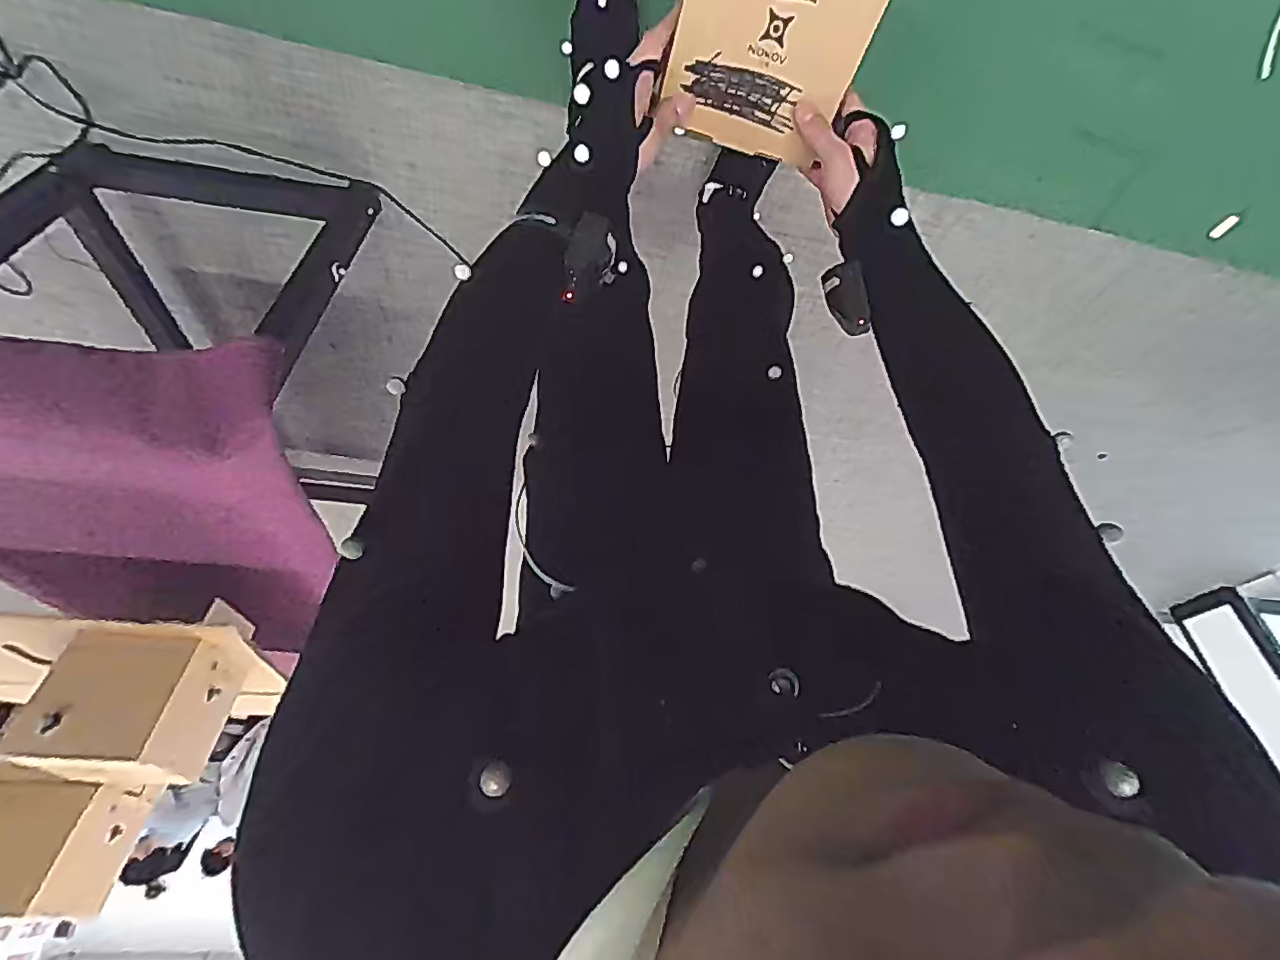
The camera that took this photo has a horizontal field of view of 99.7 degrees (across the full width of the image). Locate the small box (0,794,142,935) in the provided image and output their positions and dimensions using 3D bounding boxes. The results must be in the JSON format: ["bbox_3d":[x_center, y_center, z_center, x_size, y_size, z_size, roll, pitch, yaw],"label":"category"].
[{"bbox_3d":[-0.947,0.590,0.836,0.179,0.176,0.168,4,140,-6],"label":"small box"}]

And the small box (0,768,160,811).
[{"bbox_3d":[-0.938,0.465,0.939,0.179,0.176,0.168,6,140,-5],"label":"small box"}]

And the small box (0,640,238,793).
[{"bbox_3d":[-0.750,0.347,0.795,0.179,0.176,0.168,6,141,-7],"label":"small box"}]
